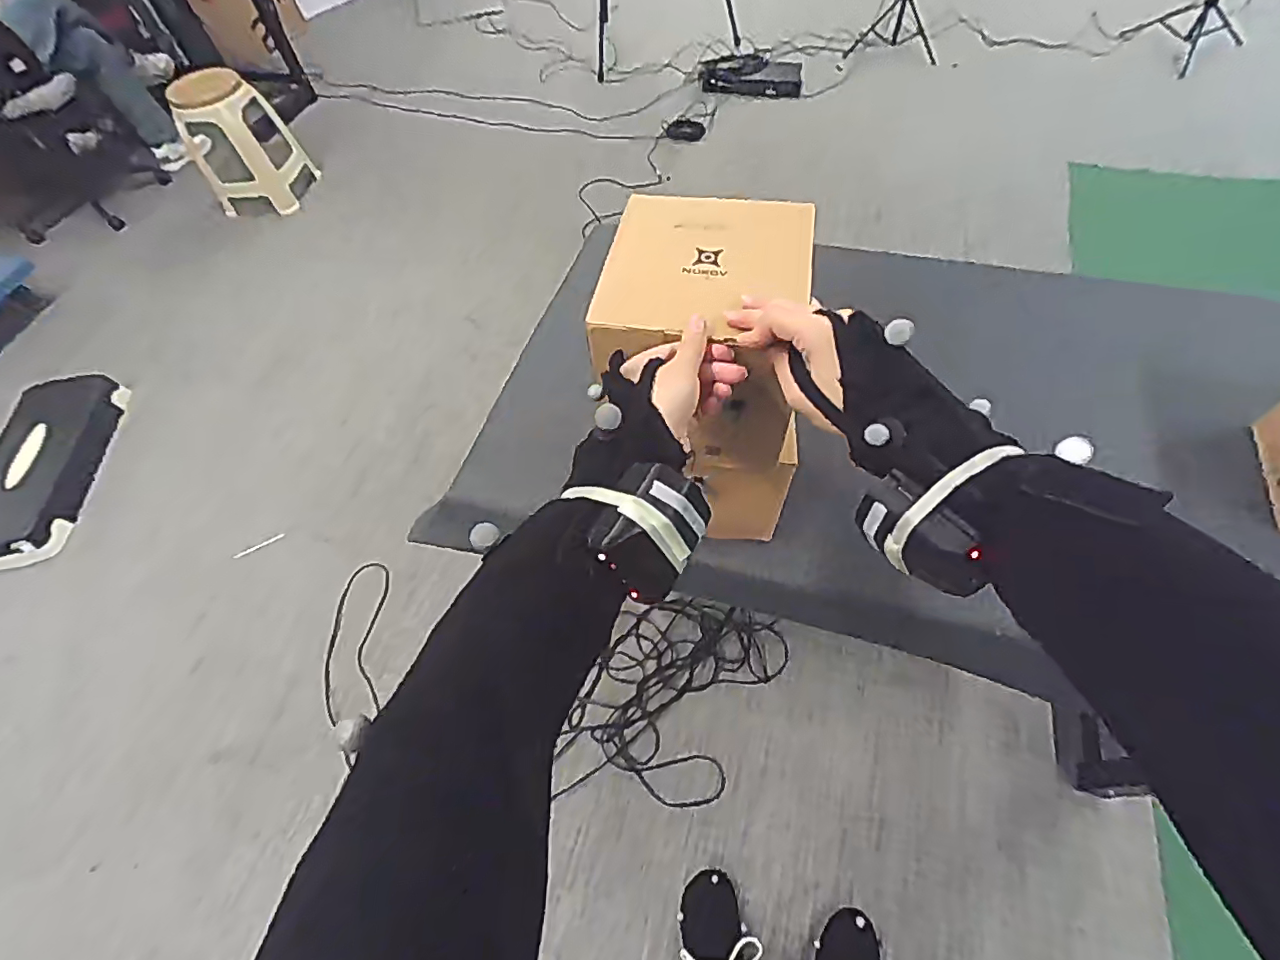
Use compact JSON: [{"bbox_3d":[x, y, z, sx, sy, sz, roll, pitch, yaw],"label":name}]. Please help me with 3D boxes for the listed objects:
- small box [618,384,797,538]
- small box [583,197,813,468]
[{"bbox_3d":[0.077,-0.042,0.635,0.179,0.176,0.168,3,58,7],"label":"small box"},{"bbox_3d":[0.057,-0.131,0.500,0.168,0.176,0.179,8,57,8],"label":"small box"}]
